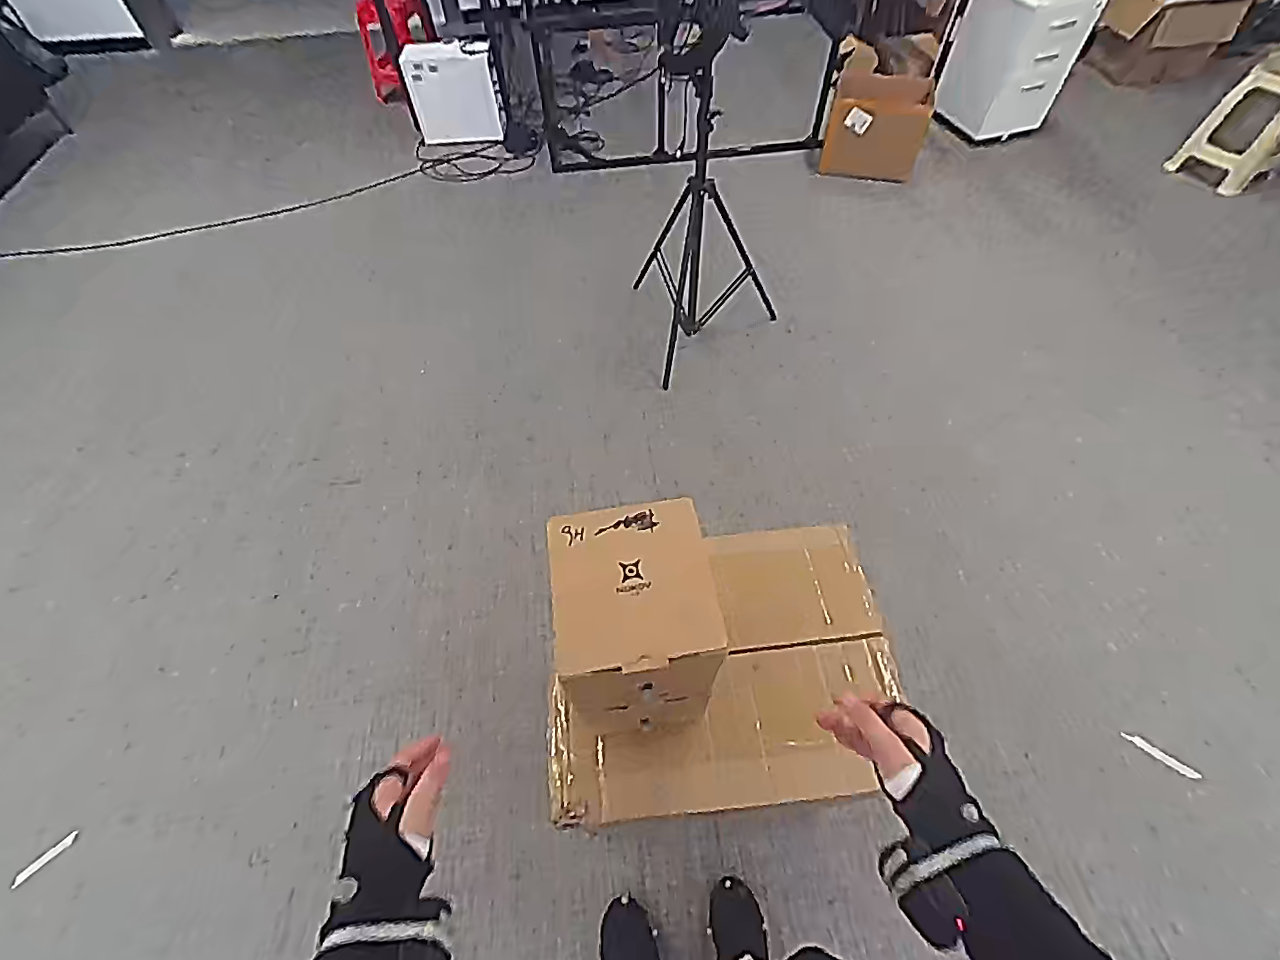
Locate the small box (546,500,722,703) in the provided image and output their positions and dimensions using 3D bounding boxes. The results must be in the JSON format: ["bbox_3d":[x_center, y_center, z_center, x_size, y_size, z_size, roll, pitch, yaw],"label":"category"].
[{"bbox_3d":[-0.010,0.148,0.626,0.168,0.176,0.179,-8,57,-5],"label":"small box"}]

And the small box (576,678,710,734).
[{"bbox_3d":[-0.005,0.241,0.761,0.168,0.176,0.179,-7,57,-3],"label":"small box"}]
